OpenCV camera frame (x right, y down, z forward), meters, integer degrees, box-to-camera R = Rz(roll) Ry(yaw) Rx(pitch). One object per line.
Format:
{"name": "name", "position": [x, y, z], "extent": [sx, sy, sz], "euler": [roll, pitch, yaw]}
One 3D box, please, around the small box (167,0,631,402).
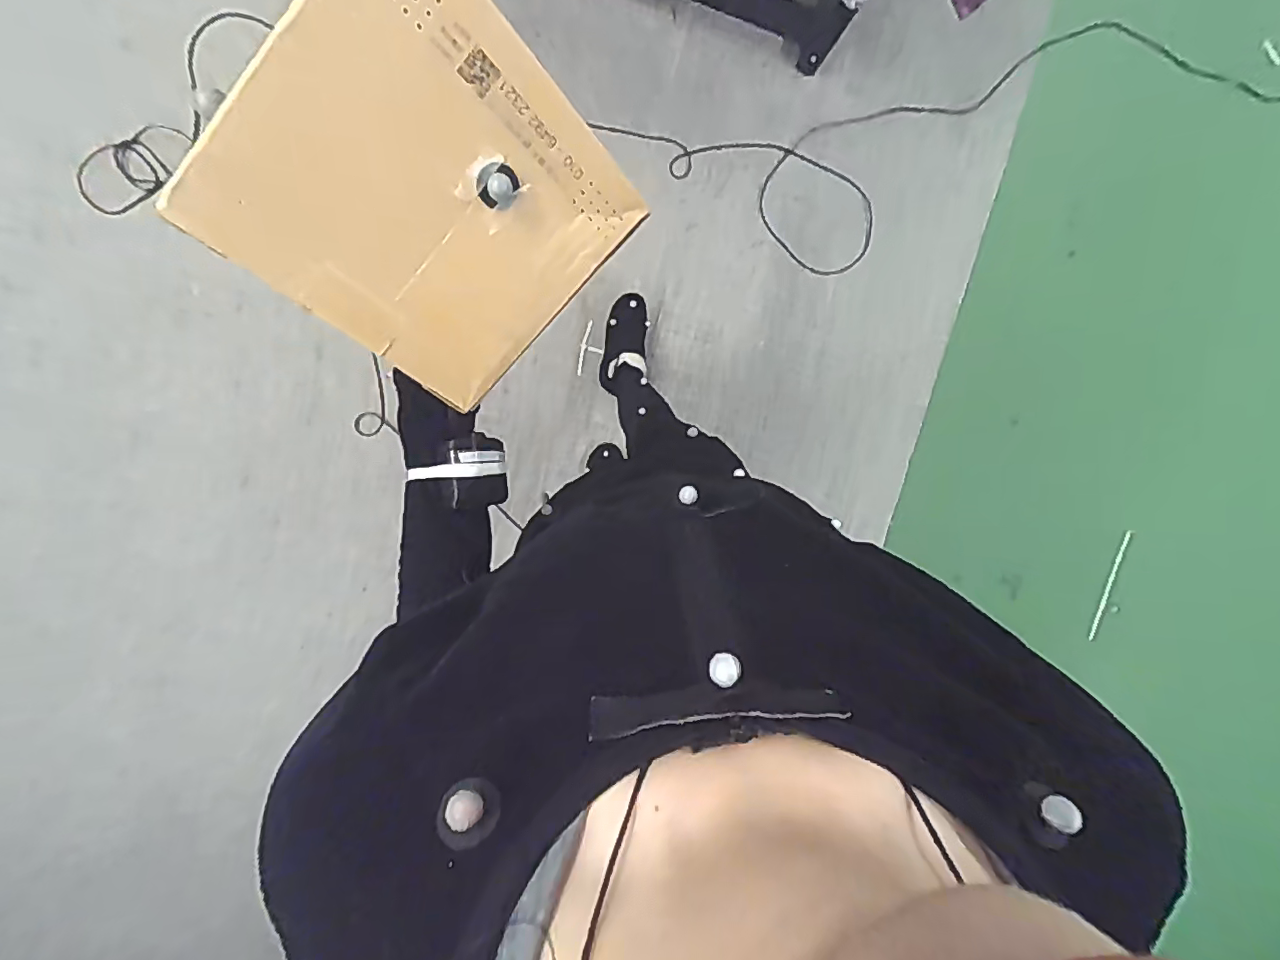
{"name": "small box", "position": [-0.132, -0.187, 0.335], "extent": [0.176, 0.179, 0.168], "euler": [-46, 131, 10]}
